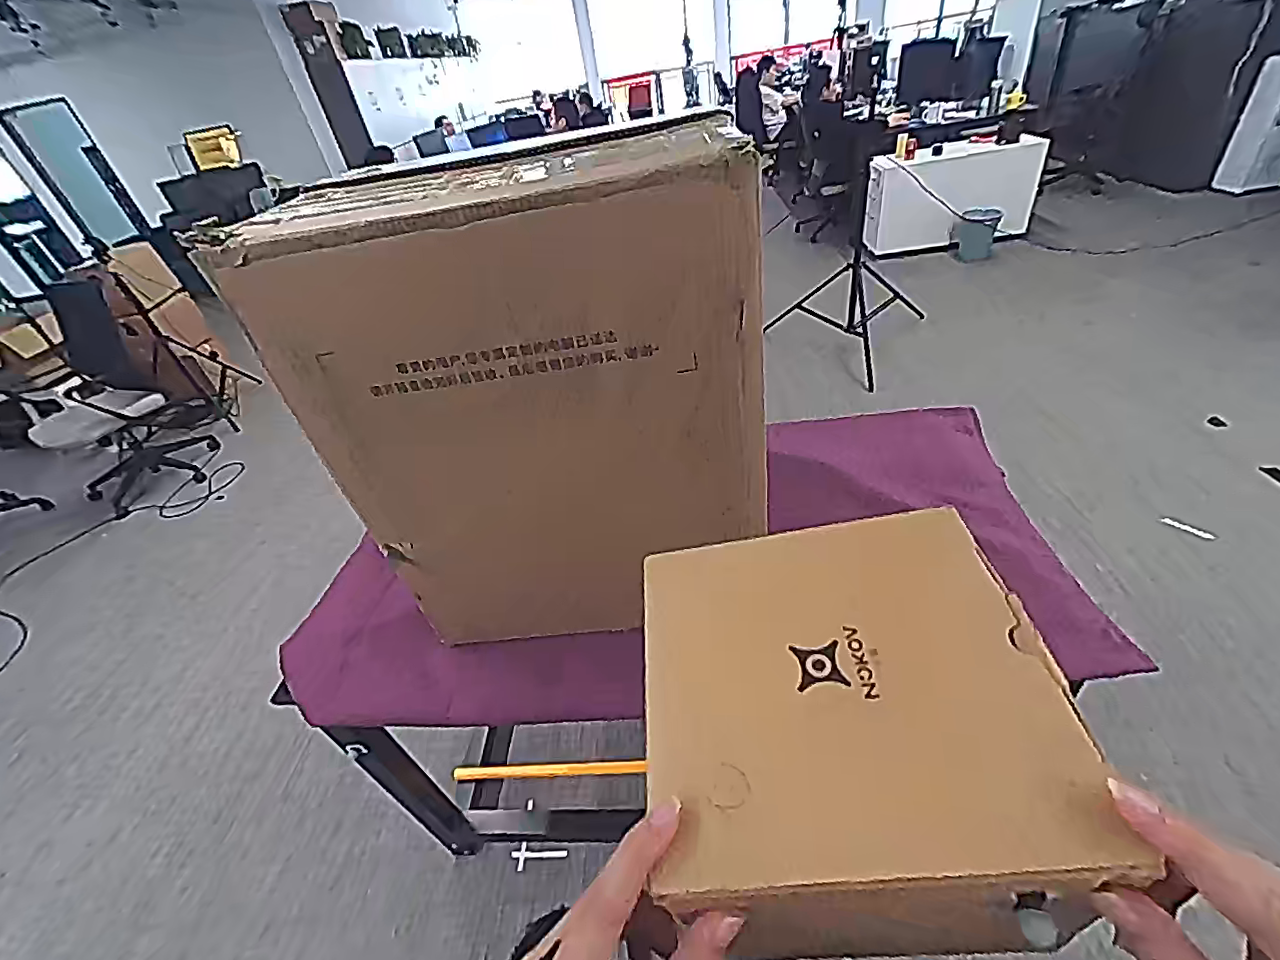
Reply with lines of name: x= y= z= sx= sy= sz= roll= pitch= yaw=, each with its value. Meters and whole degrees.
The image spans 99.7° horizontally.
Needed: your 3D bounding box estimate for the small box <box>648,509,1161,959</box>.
small box: x=0.110 y=0.144 z=0.300 sx=0.179 sy=0.176 sz=0.168 roll=-11 pitch=41 yaw=10
